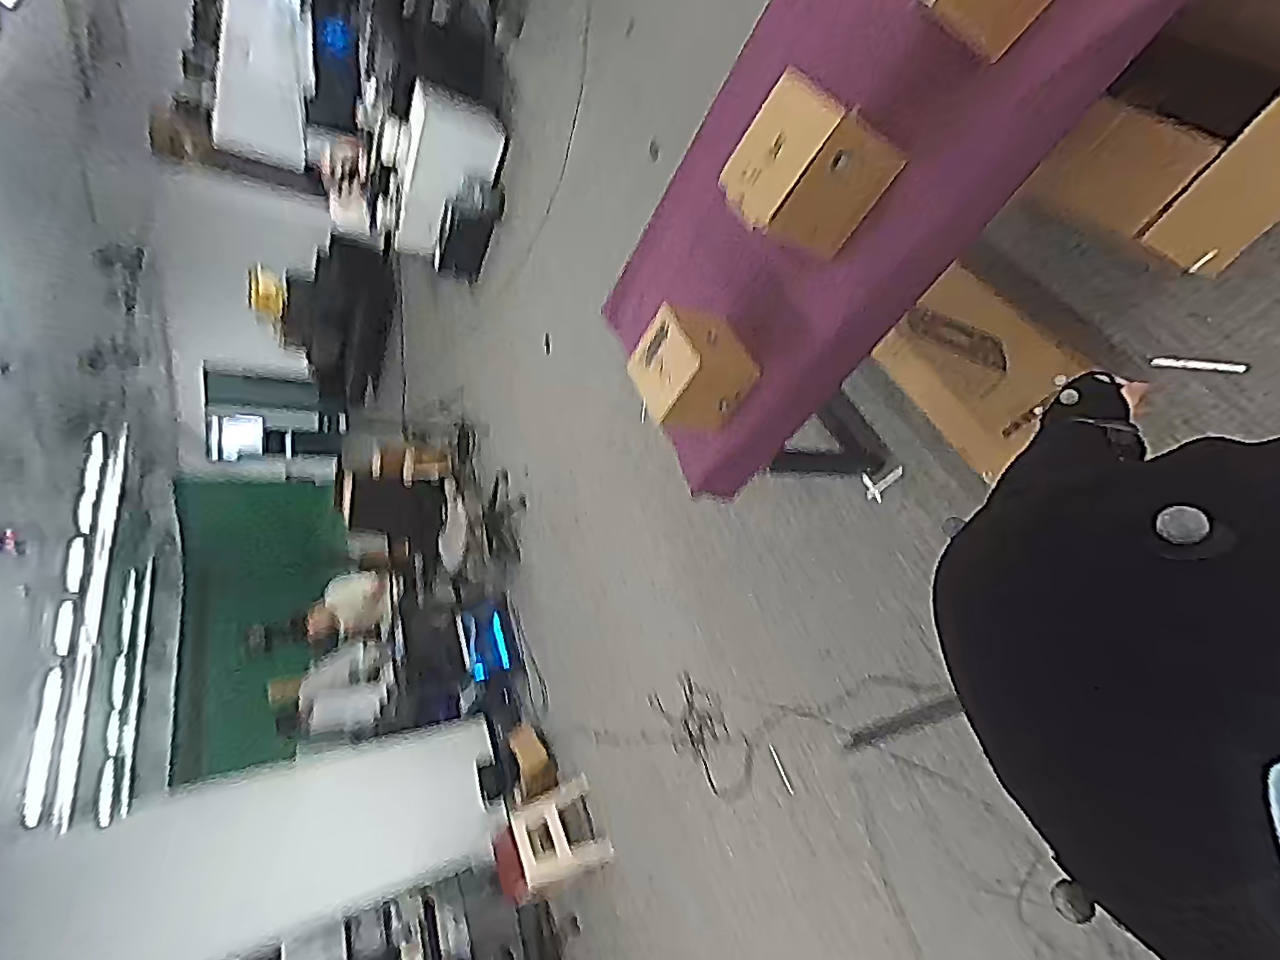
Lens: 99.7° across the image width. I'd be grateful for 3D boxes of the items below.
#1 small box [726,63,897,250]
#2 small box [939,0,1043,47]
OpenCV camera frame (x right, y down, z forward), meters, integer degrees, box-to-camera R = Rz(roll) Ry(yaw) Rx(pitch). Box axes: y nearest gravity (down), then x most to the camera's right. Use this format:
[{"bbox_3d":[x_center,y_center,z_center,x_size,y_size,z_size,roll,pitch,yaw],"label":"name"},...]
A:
[{"bbox_3d":[0.276,-0.505,0.864,0.179,0.176,0.168,-53,47,39],"label":"small box"},{"bbox_3d":[0.434,-0.683,0.652,0.179,0.176,0.168,-45,55,43],"label":"small box"}]
